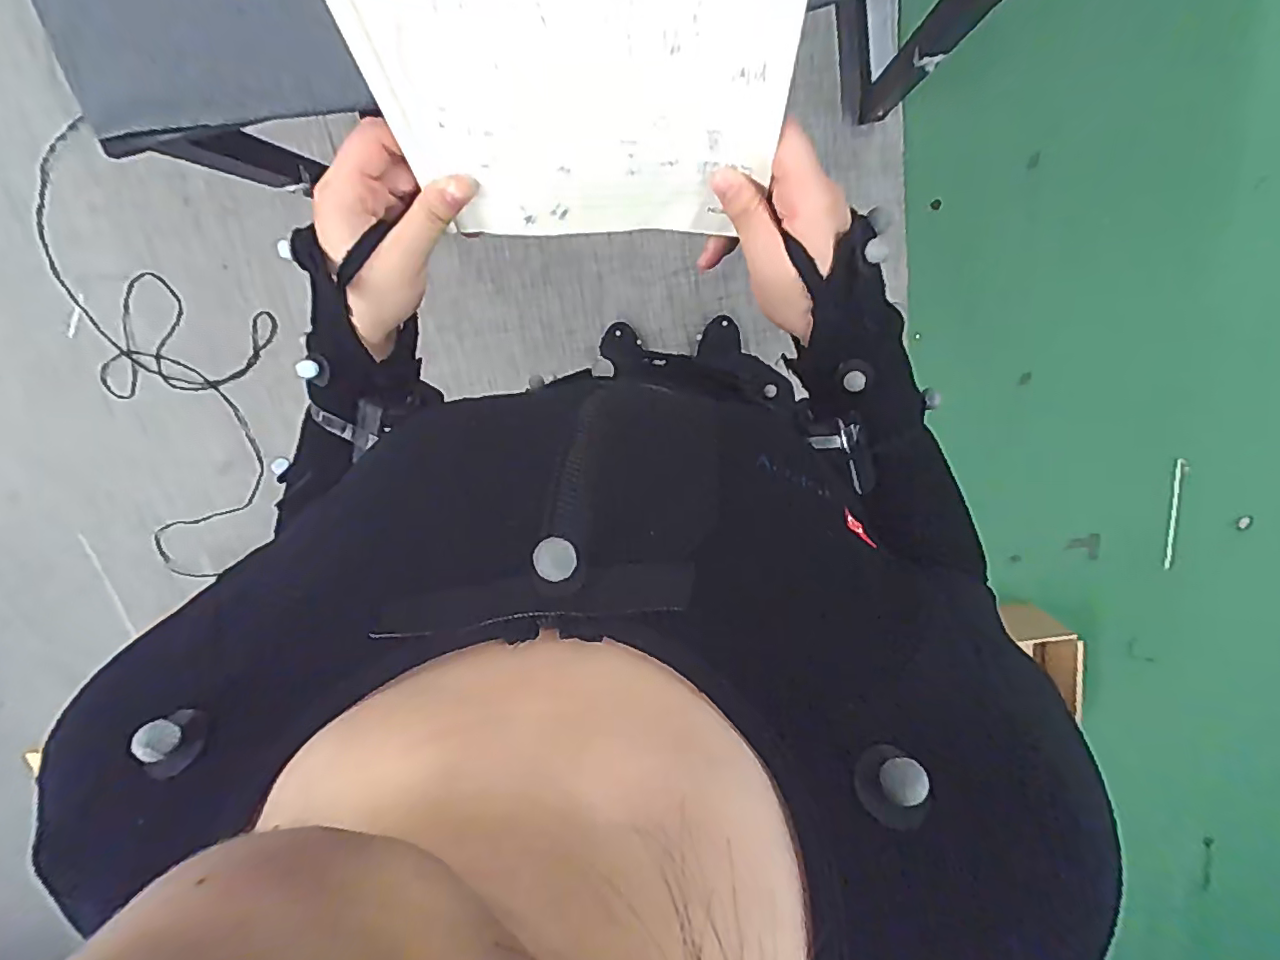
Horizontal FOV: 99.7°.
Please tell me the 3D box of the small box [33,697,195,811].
[{"bbox_3d":[-1.178,0.615,1.226,0.179,0.176,0.168,-6,107,8],"label":"small box"}]
